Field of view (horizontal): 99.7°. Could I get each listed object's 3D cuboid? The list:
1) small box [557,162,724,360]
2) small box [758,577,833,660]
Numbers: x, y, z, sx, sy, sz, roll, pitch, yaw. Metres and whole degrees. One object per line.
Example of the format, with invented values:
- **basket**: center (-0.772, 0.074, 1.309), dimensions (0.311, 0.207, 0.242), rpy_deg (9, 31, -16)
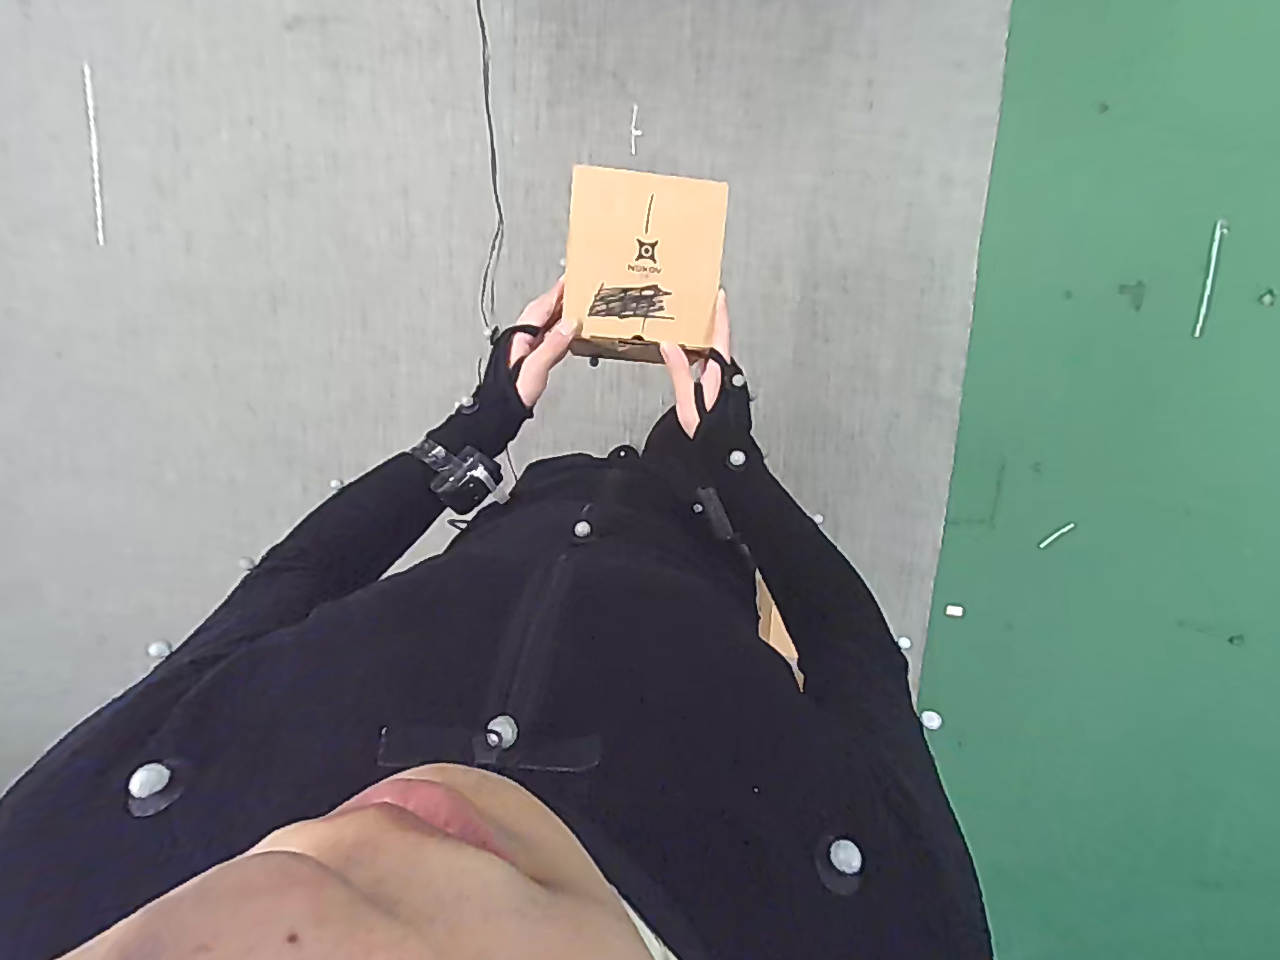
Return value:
- **small box**: center (-0.003, -0.245, 0.651), dimensions (0.168, 0.176, 0.179), rpy_deg (5, 95, -3)
- **small box**: center (0.448, 0.401, 1.585), dimensions (0.168, 0.176, 0.179), rpy_deg (4, 99, 1)
